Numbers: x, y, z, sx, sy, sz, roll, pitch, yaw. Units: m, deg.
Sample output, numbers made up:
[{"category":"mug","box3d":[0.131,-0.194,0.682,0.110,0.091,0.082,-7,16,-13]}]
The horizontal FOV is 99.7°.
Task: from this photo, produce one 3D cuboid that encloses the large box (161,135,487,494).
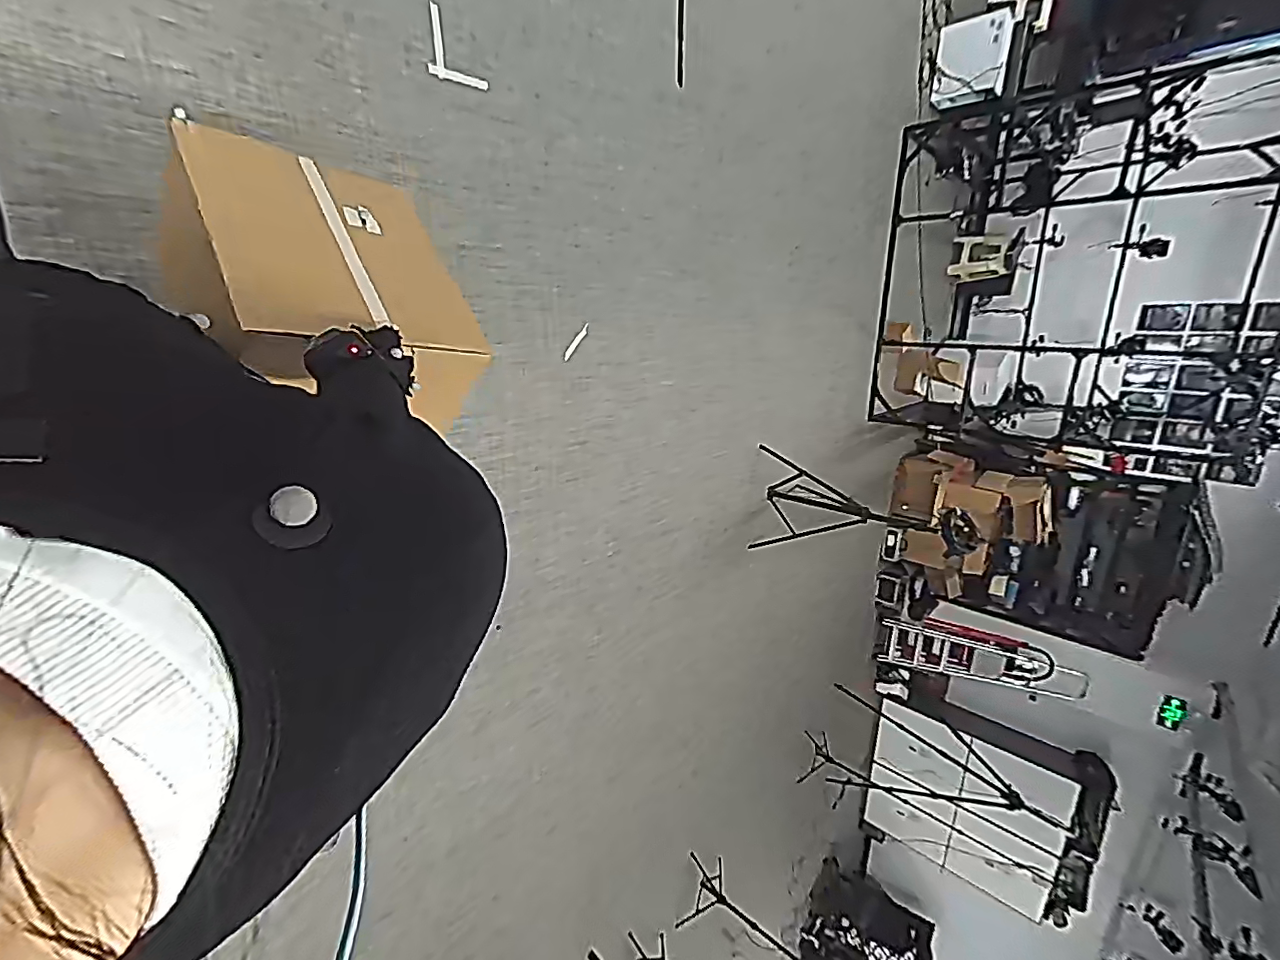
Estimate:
[{"category":"large box","box3d":[-0.514,-0.238,0.861,0.320,0.408,0.320,-8,148,-50]}]
